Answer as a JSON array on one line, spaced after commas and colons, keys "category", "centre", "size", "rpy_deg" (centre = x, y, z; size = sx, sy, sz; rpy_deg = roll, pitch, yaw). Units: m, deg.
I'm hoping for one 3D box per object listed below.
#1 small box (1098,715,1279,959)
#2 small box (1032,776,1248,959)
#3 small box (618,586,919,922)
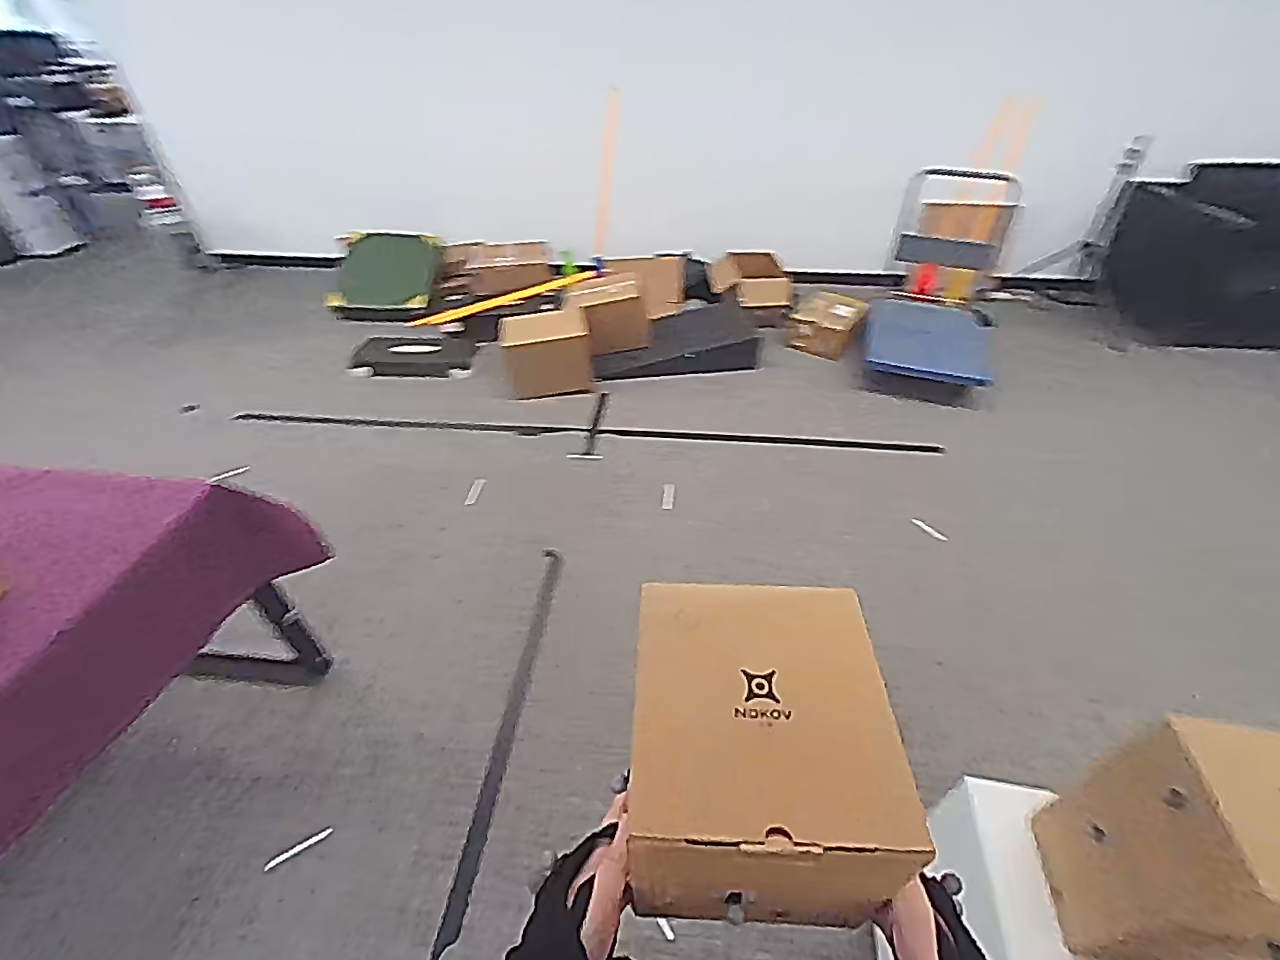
[{"category": "small box", "centre": [0.653, 0.390, 0.583], "size": [0.168, 0.176, 0.179], "rpy_deg": [7, 42, 9]}, {"category": "small box", "centre": [0.657, 0.514, 0.692], "size": [0.179, 0.176, 0.168], "rpy_deg": [9, 42, 8]}, {"category": "small box", "centre": [0.070, 0.201, 0.405], "size": [0.168, 0.176, 0.179], "rpy_deg": [0, 42, 1]}]
